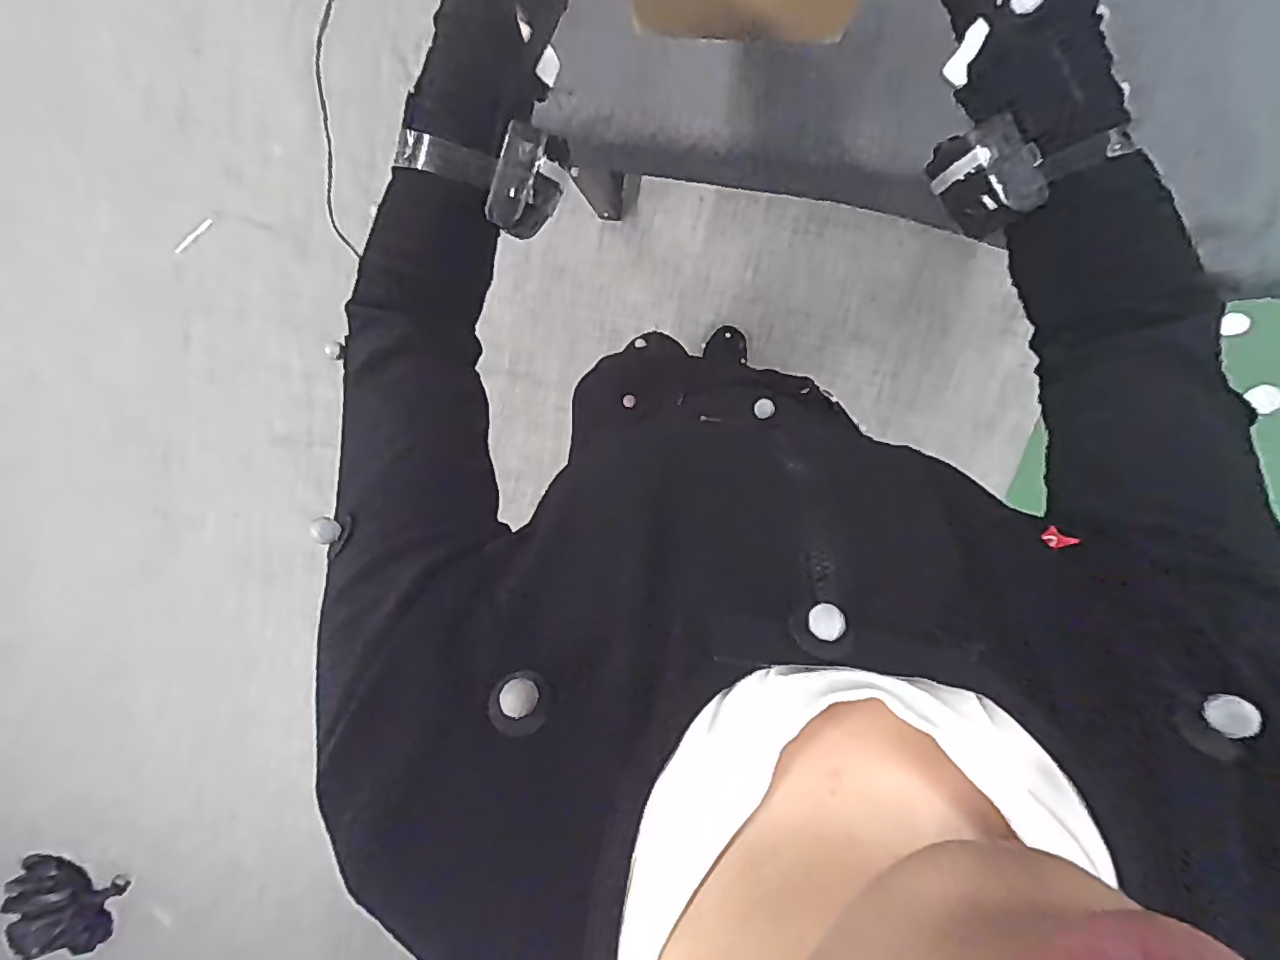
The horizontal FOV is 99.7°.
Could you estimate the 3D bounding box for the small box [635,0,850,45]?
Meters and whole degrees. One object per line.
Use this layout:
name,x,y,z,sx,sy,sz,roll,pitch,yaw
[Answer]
small box,0.082,-0.440,0.375,0.179,0.176,0.168,4,105,2
